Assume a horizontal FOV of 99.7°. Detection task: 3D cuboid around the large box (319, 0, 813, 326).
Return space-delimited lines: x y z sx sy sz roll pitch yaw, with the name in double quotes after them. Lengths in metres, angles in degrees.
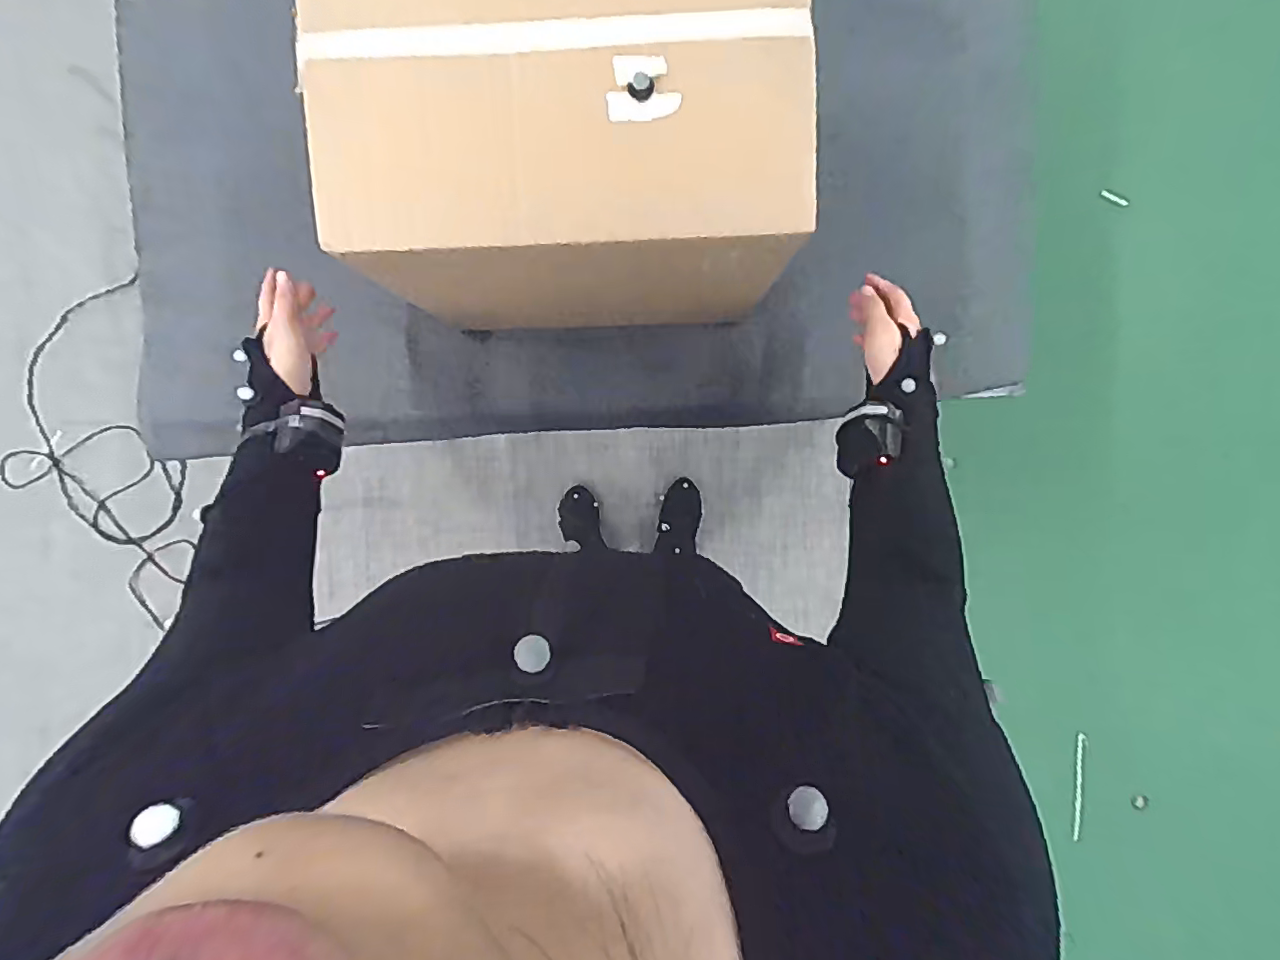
-0.063 -0.365 0.589 0.408 0.320 0.320 -2 95 0 "large box"
